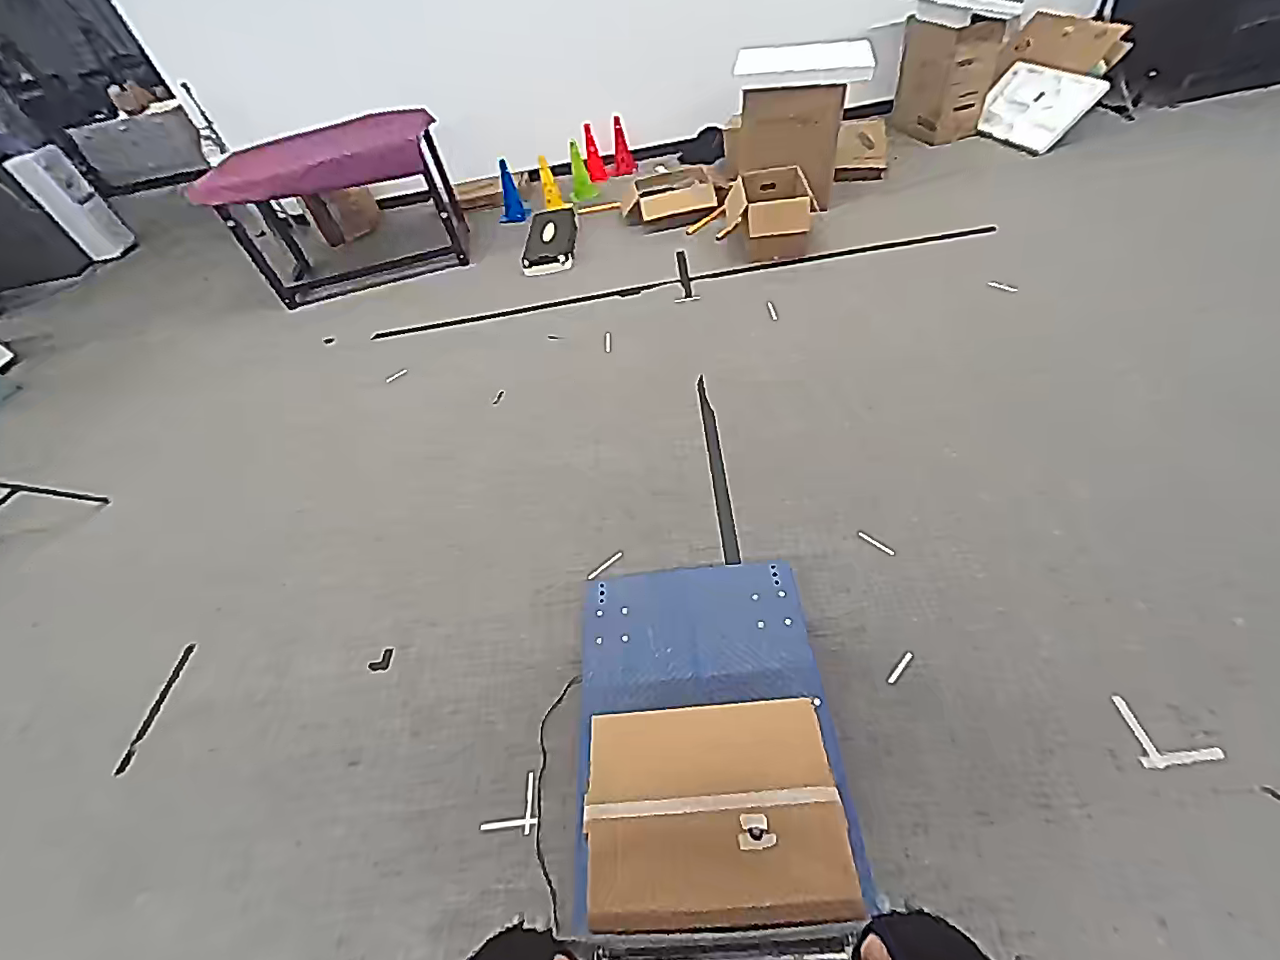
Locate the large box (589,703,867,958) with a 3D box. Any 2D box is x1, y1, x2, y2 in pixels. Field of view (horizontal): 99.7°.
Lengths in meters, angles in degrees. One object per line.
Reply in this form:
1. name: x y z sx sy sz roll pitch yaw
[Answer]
1. large box: 0.134 0.634 0.971 0.408 0.320 0.320 -7 47 4
